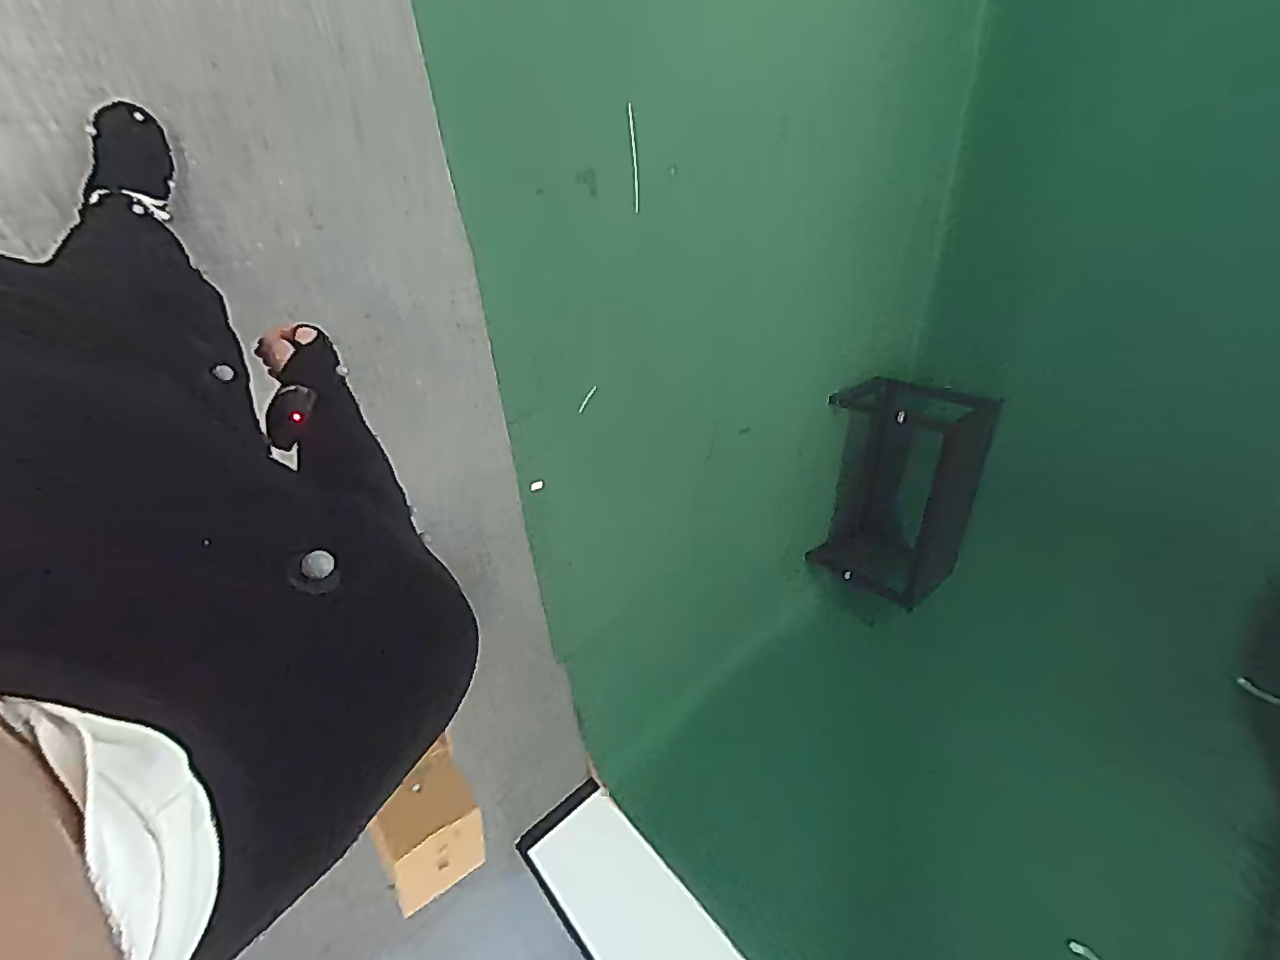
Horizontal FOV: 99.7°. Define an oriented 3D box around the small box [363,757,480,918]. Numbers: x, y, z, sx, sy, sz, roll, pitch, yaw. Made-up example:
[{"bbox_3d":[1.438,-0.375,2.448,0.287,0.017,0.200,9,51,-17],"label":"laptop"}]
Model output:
[{"bbox_3d":[-0.440,0.709,1.093,0.168,0.176,0.179,-17,121,-39],"label":"small box"}]
